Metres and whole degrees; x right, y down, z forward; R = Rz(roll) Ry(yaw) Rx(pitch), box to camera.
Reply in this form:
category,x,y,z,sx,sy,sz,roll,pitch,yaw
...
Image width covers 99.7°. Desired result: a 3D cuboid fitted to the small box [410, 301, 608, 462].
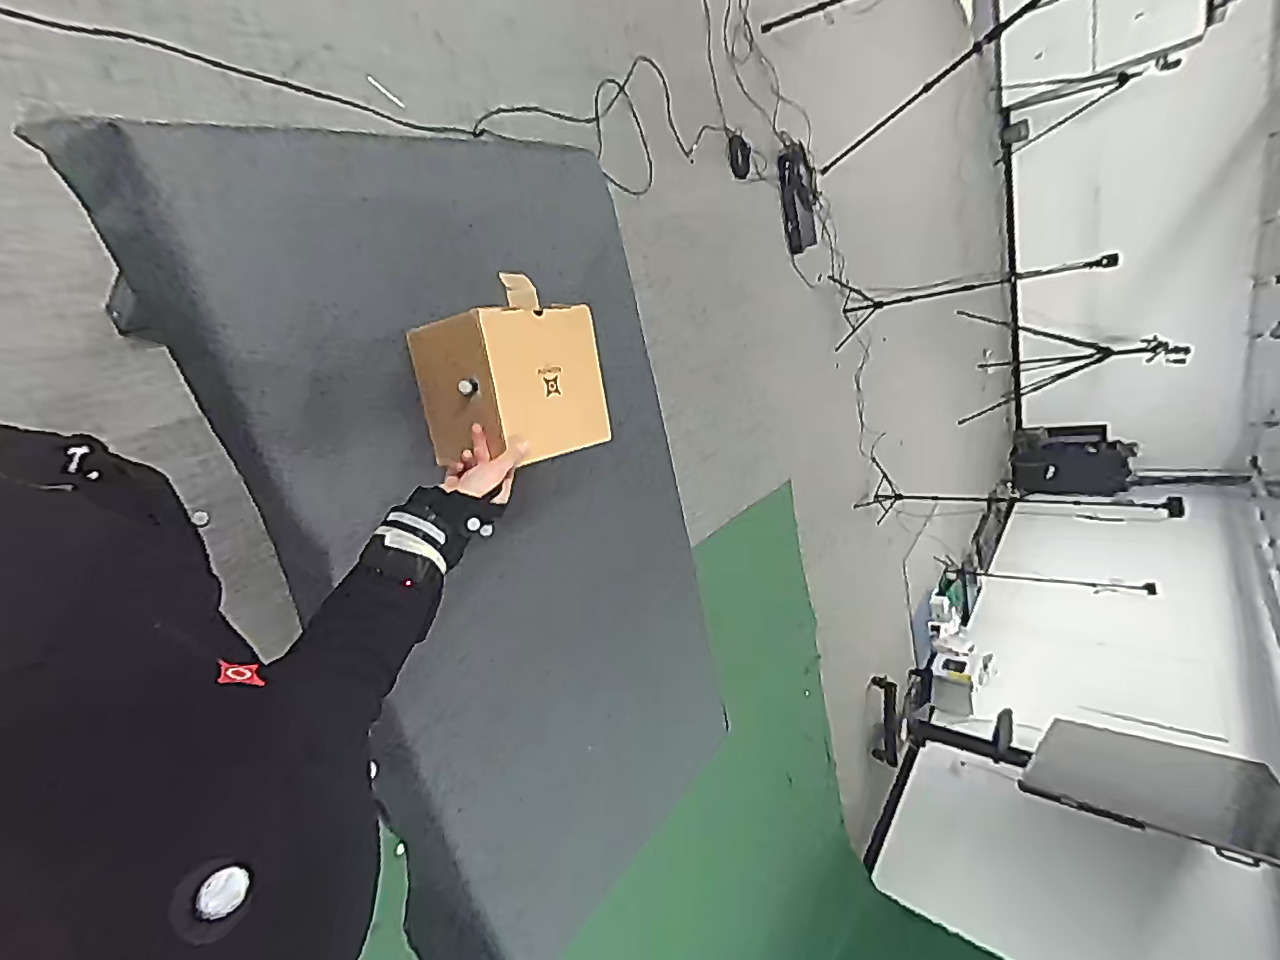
category,x,y,z,sx,sy,sz,roll,pitch,yaw
small box,-0.168,-0.126,0.699,0.168,0.176,0.179,-22,107,-46
